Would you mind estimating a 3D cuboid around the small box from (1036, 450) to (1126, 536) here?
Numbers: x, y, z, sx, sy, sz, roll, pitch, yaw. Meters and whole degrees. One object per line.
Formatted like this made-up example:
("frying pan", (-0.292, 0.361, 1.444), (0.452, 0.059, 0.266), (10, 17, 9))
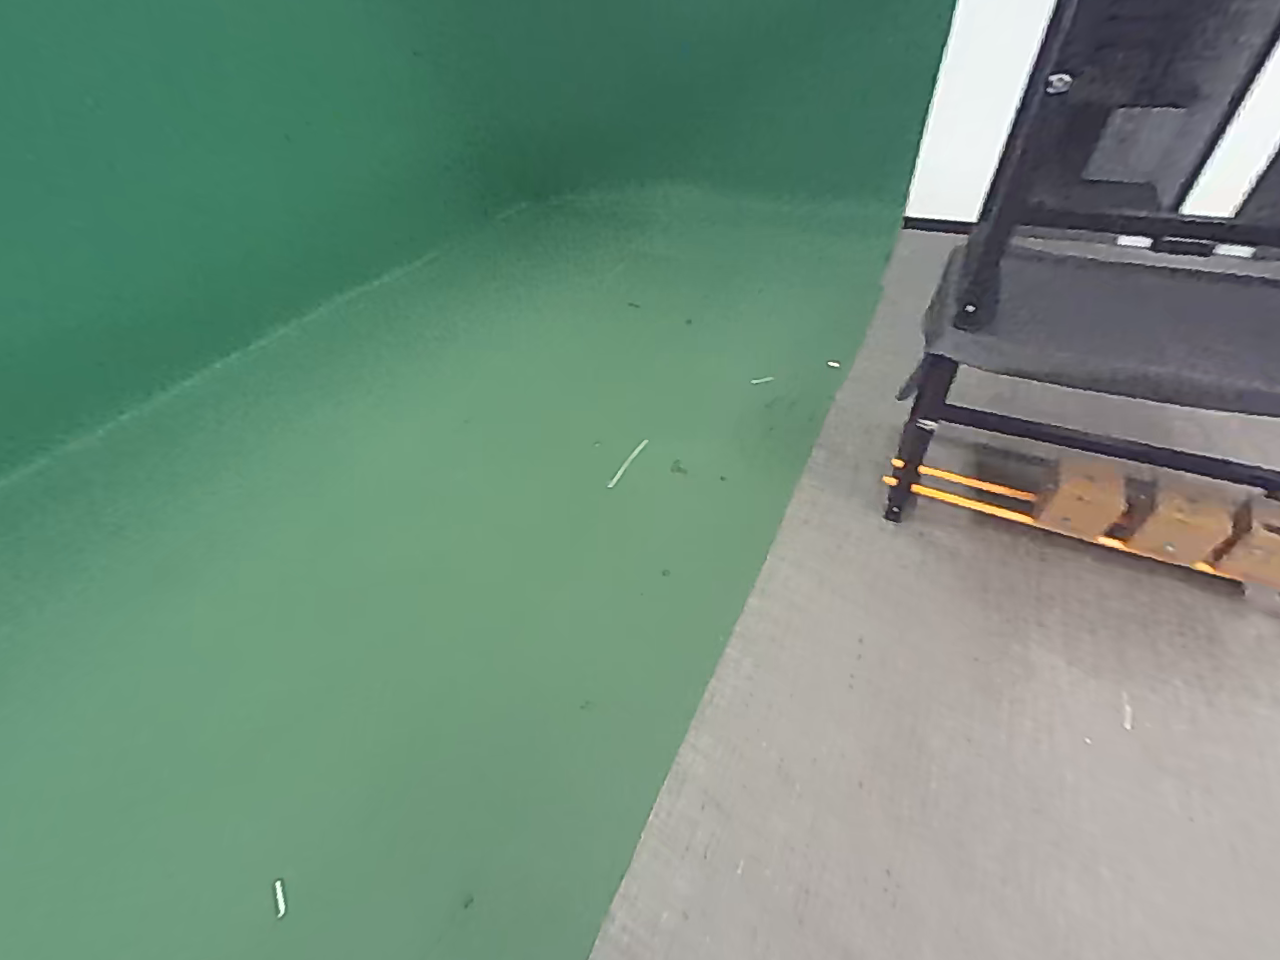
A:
("small box", (1.359, 0.040, 1.674), (0.168, 0.176, 0.179), (19, 52, 22))
